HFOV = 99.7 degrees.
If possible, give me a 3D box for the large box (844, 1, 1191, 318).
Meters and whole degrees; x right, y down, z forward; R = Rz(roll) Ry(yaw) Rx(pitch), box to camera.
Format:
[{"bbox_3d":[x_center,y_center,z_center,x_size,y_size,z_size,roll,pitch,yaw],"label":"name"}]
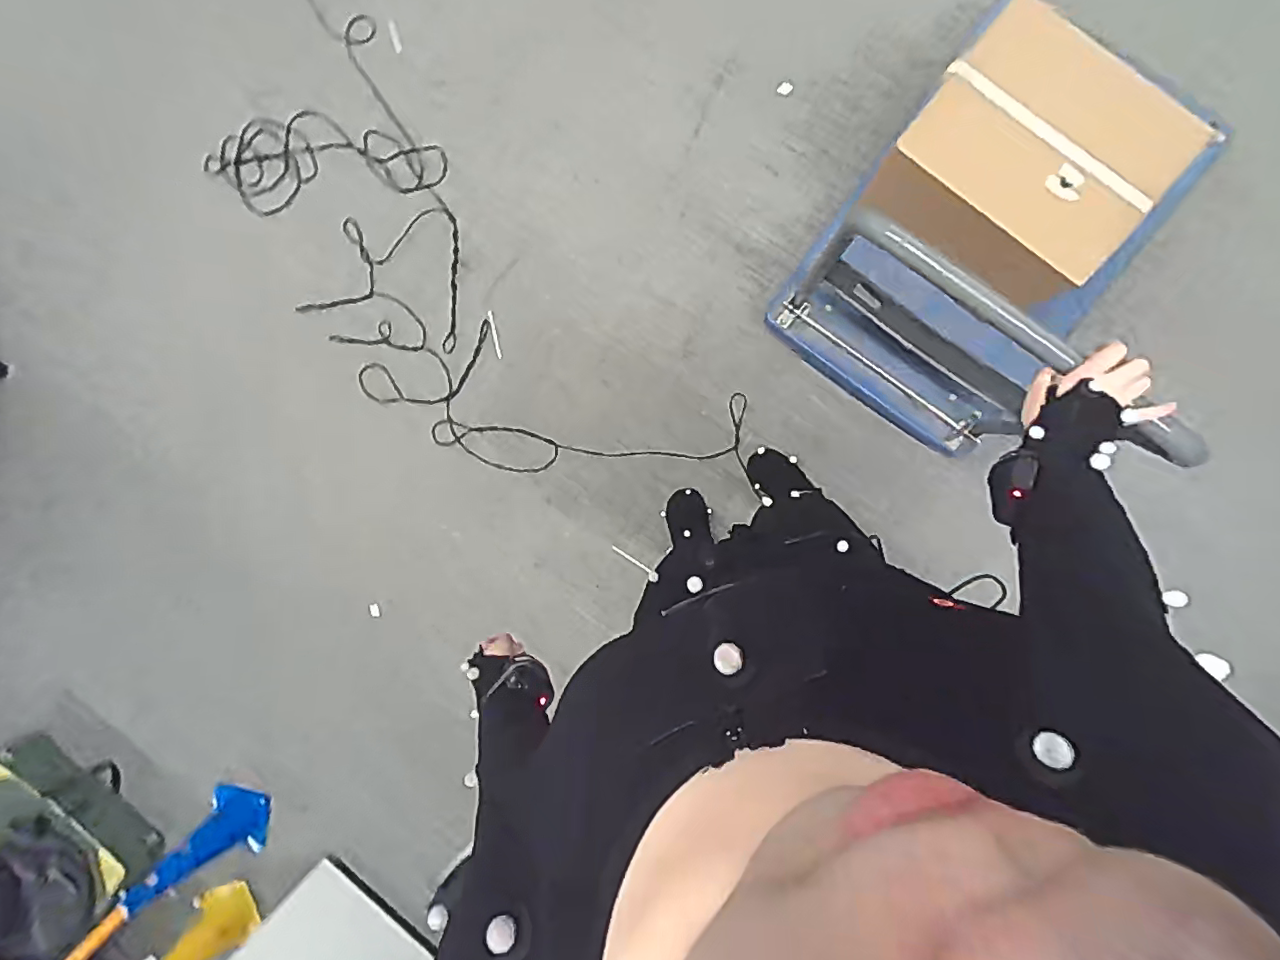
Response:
[{"bbox_3d":[0.699,-0.597,1.084,0.408,0.320,0.320,39,97,2],"label":"large box"}]
